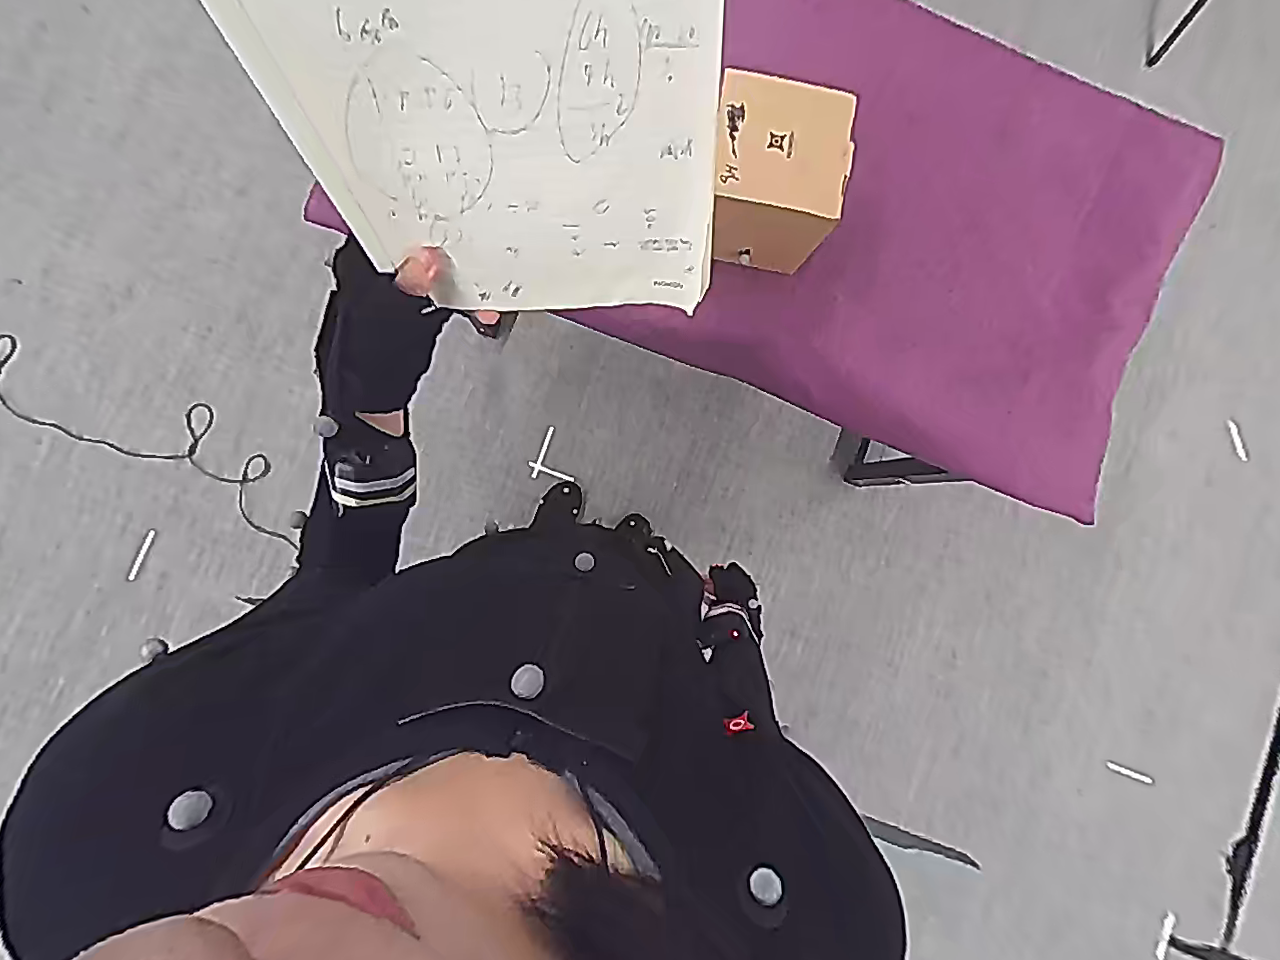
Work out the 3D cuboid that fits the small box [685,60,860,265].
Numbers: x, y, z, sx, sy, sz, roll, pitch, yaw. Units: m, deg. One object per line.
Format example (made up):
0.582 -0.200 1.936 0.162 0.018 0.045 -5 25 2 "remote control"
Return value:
0.172 -0.420 0.748 0.179 0.176 0.168 10 86 -5 "small box"
